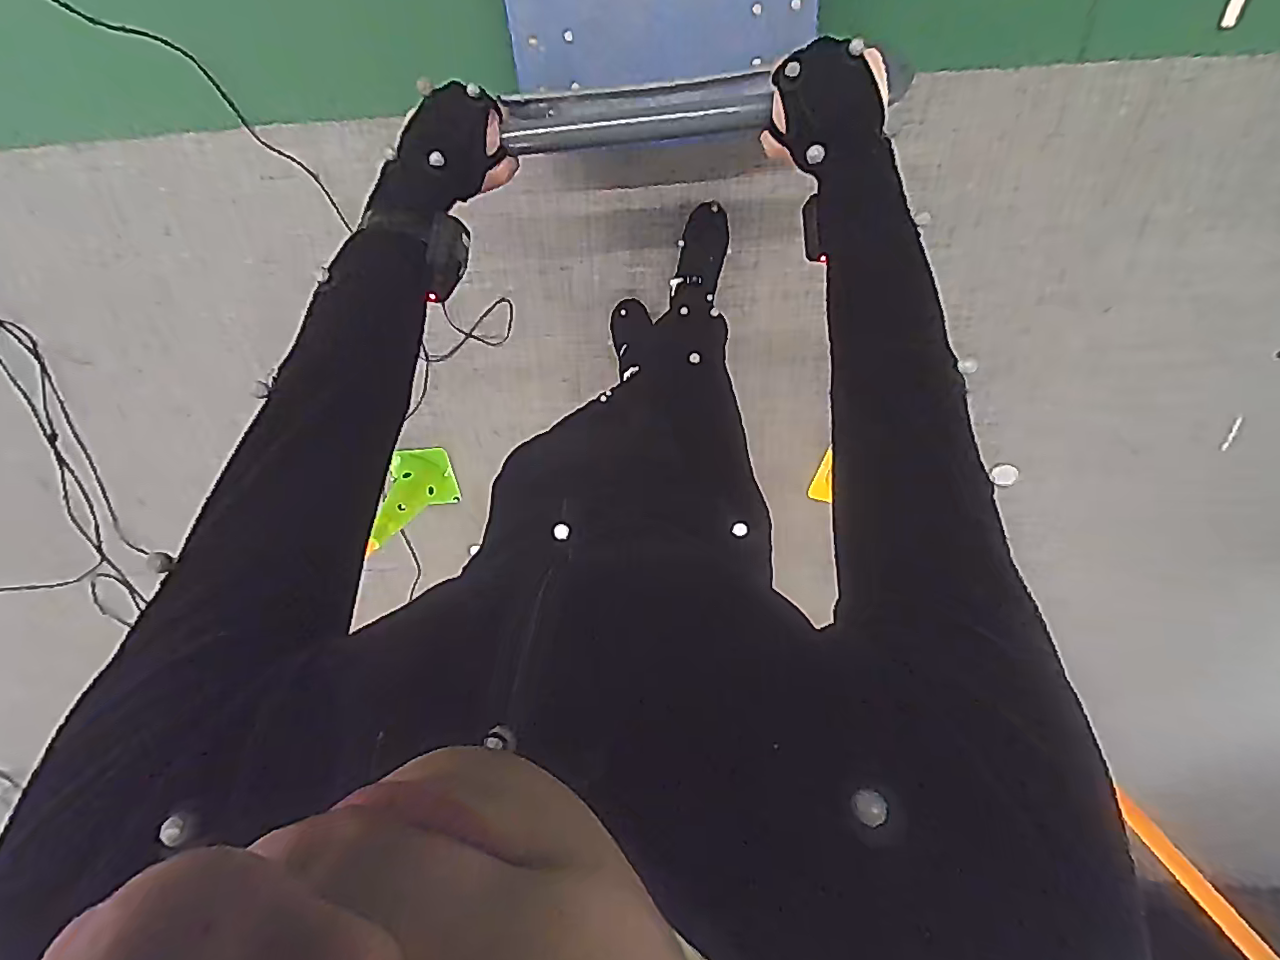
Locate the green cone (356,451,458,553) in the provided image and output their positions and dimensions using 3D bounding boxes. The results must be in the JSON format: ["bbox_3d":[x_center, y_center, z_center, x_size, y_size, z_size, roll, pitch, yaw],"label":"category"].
[{"bbox_3d":[-0.709,0.084,1.575,0.202,0.368,0.200,-4,119,8],"label":"green cone"}]
